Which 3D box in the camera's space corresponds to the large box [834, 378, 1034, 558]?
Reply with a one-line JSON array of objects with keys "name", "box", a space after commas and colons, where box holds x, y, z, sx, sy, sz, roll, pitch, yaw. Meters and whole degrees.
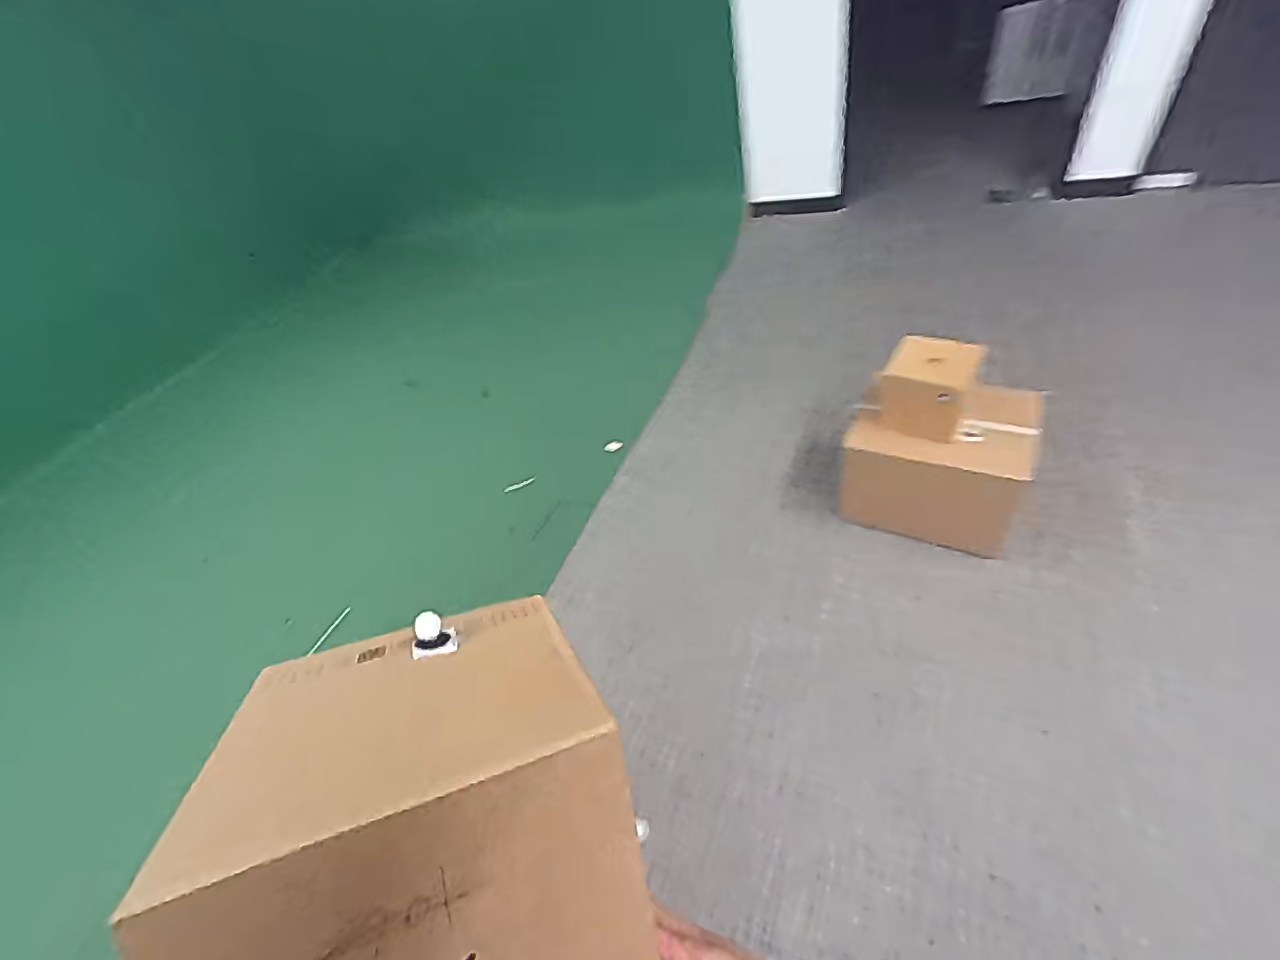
[{"name": "large box", "box": [0.773, -0.040, 1.466, 0.408, 0.320, 0.320, 15, 55, 26]}]

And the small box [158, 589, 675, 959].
[{"name": "small box", "box": [-0.093, 0.181, 0.285, 0.168, 0.179, 0.176, -12, 11, -20]}]

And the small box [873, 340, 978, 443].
[{"name": "small box", "box": [0.685, -0.213, 1.312, 0.179, 0.176, 0.168, 20, 56, 30]}]
